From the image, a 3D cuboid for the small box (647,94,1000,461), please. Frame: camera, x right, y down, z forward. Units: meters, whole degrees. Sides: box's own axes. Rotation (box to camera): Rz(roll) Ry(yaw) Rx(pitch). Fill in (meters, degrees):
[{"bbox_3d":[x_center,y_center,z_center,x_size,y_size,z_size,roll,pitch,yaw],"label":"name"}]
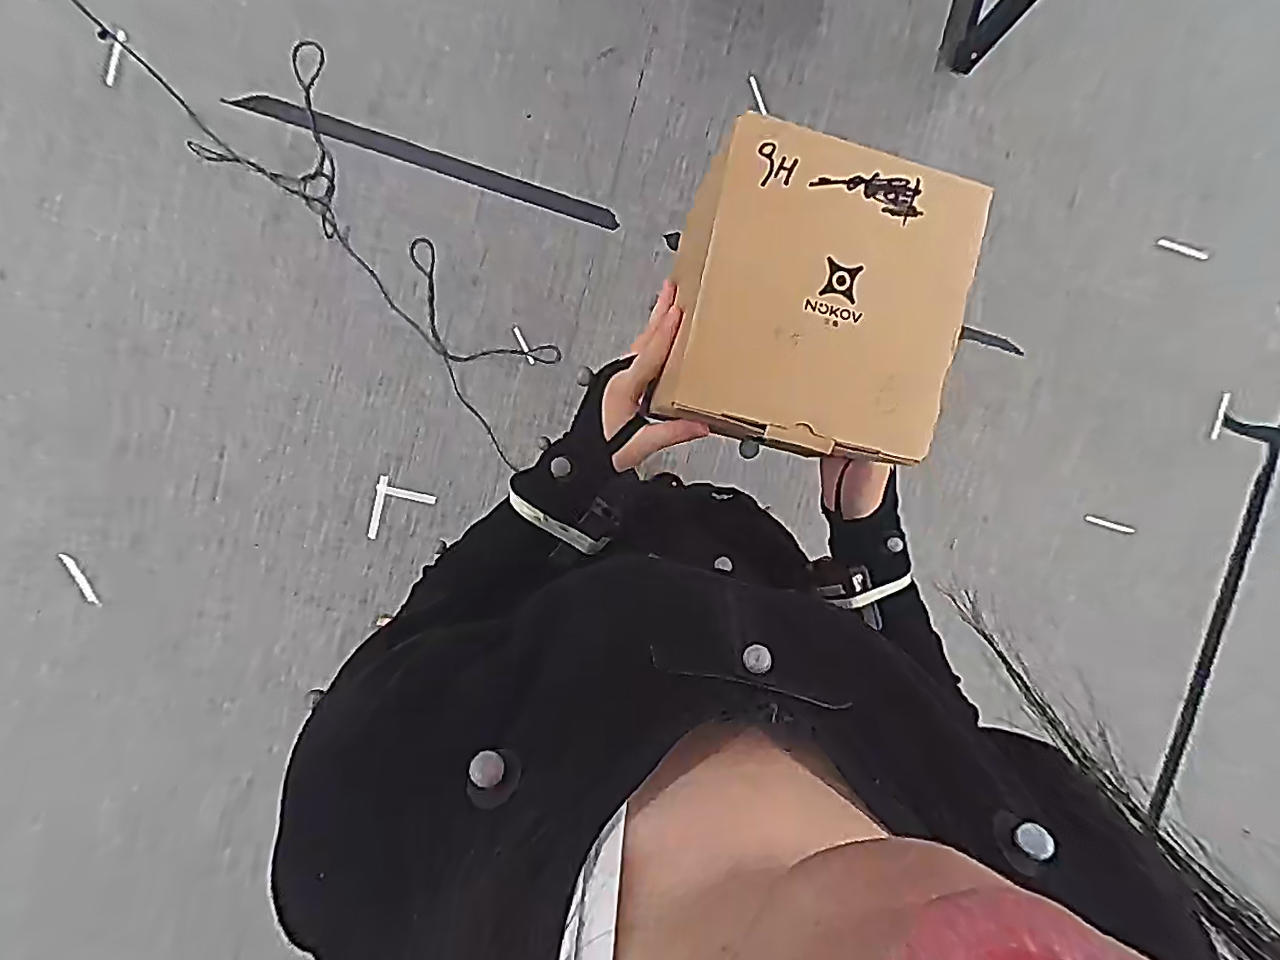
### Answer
[{"bbox_3d":[0.106,-0.120,0.393,0.168,0.176,0.179,12,94,-8],"label":"small box"}]
